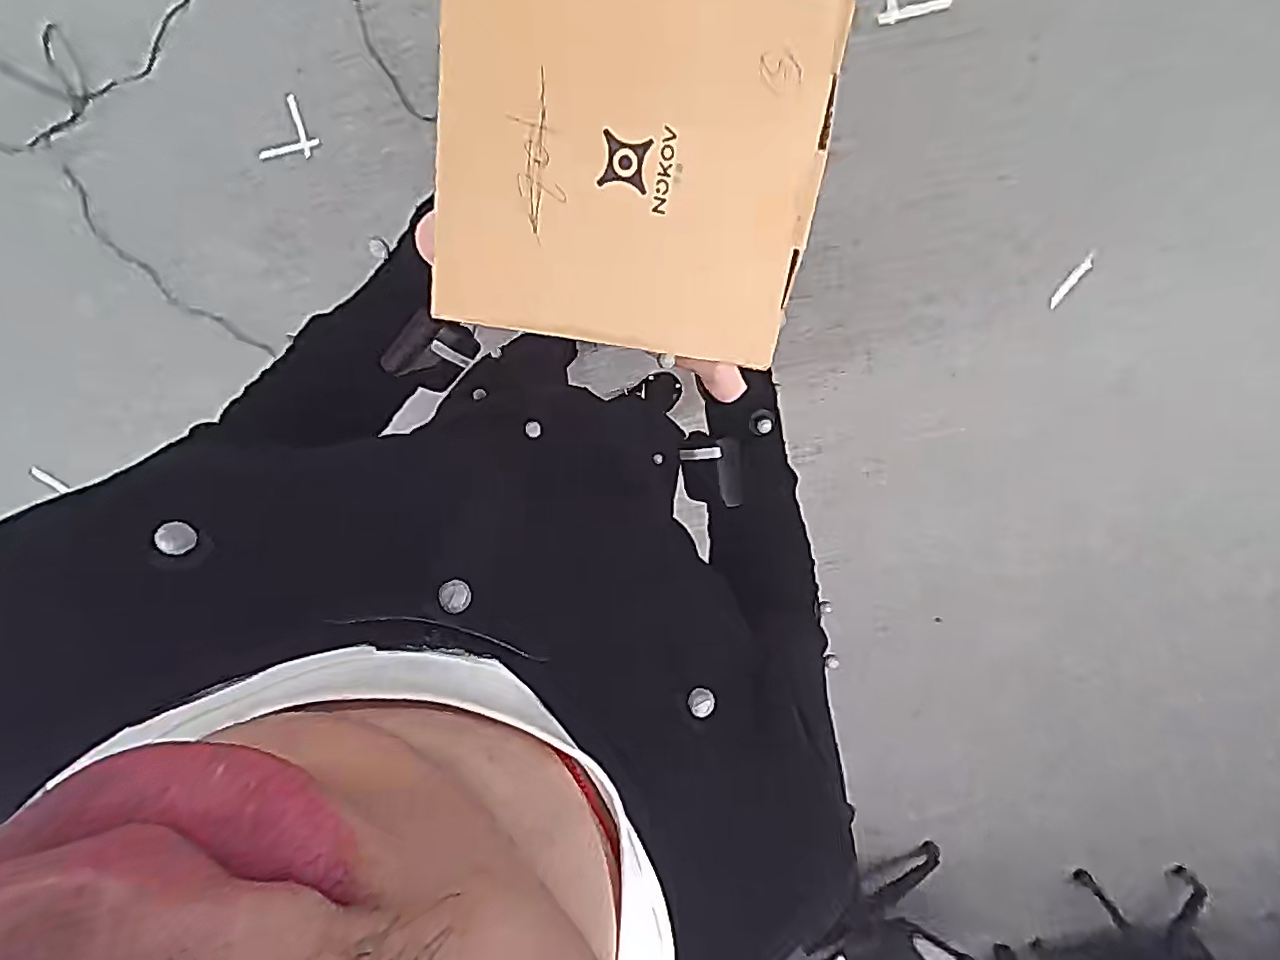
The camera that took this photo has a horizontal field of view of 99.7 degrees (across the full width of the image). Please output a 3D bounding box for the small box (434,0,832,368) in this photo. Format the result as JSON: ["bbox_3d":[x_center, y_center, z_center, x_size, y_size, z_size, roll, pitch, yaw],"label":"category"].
[{"bbox_3d":[-0.015,-0.172,0.336,0.179,0.176,0.168,6,107,-8],"label":"small box"}]
